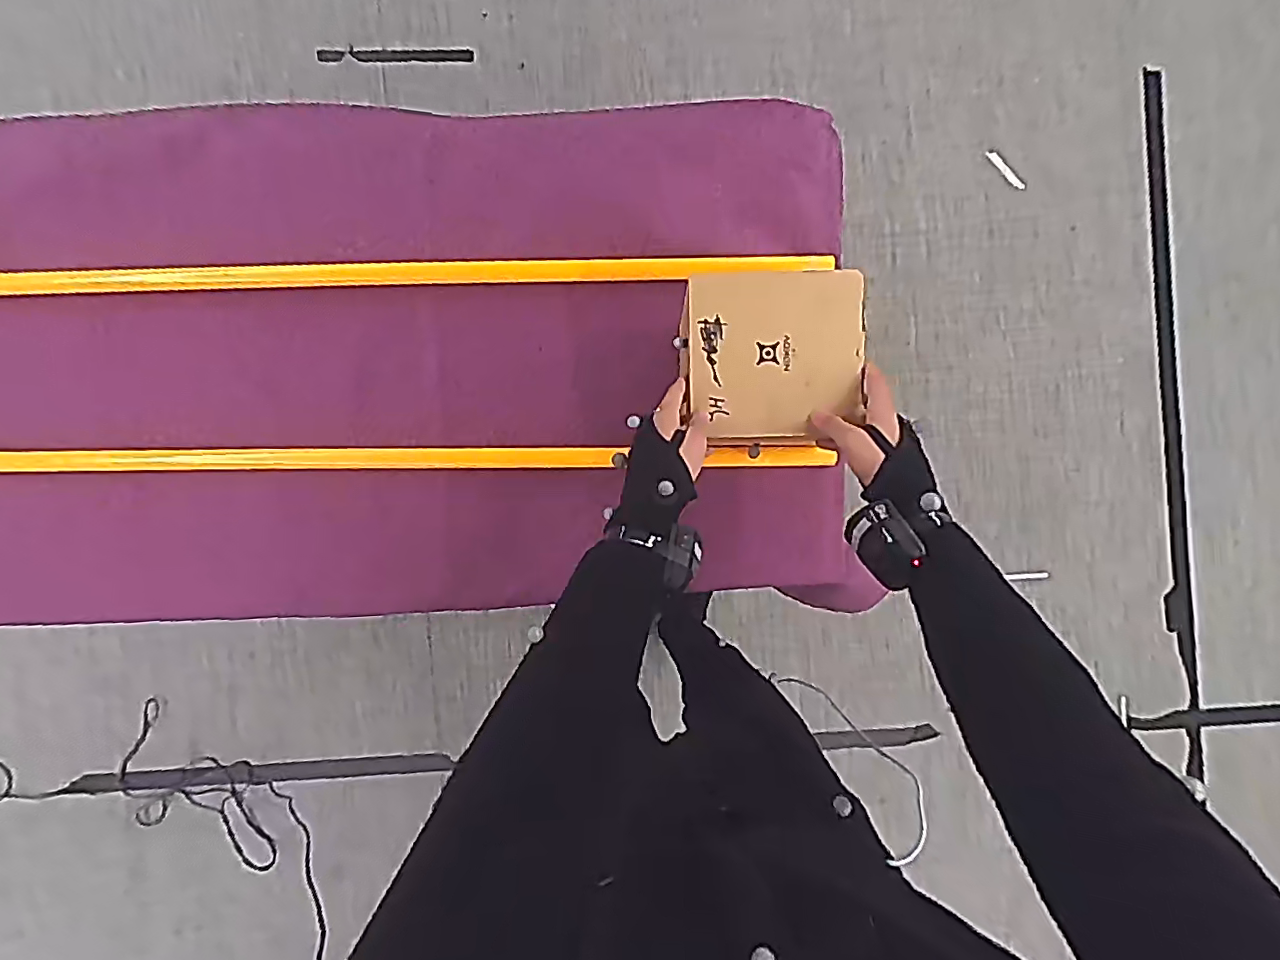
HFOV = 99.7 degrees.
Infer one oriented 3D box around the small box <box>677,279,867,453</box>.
[{"bbox_3d":[0.136,-0.117,0.612,0.179,0.176,0.168,0,90,1],"label":"small box"}]
